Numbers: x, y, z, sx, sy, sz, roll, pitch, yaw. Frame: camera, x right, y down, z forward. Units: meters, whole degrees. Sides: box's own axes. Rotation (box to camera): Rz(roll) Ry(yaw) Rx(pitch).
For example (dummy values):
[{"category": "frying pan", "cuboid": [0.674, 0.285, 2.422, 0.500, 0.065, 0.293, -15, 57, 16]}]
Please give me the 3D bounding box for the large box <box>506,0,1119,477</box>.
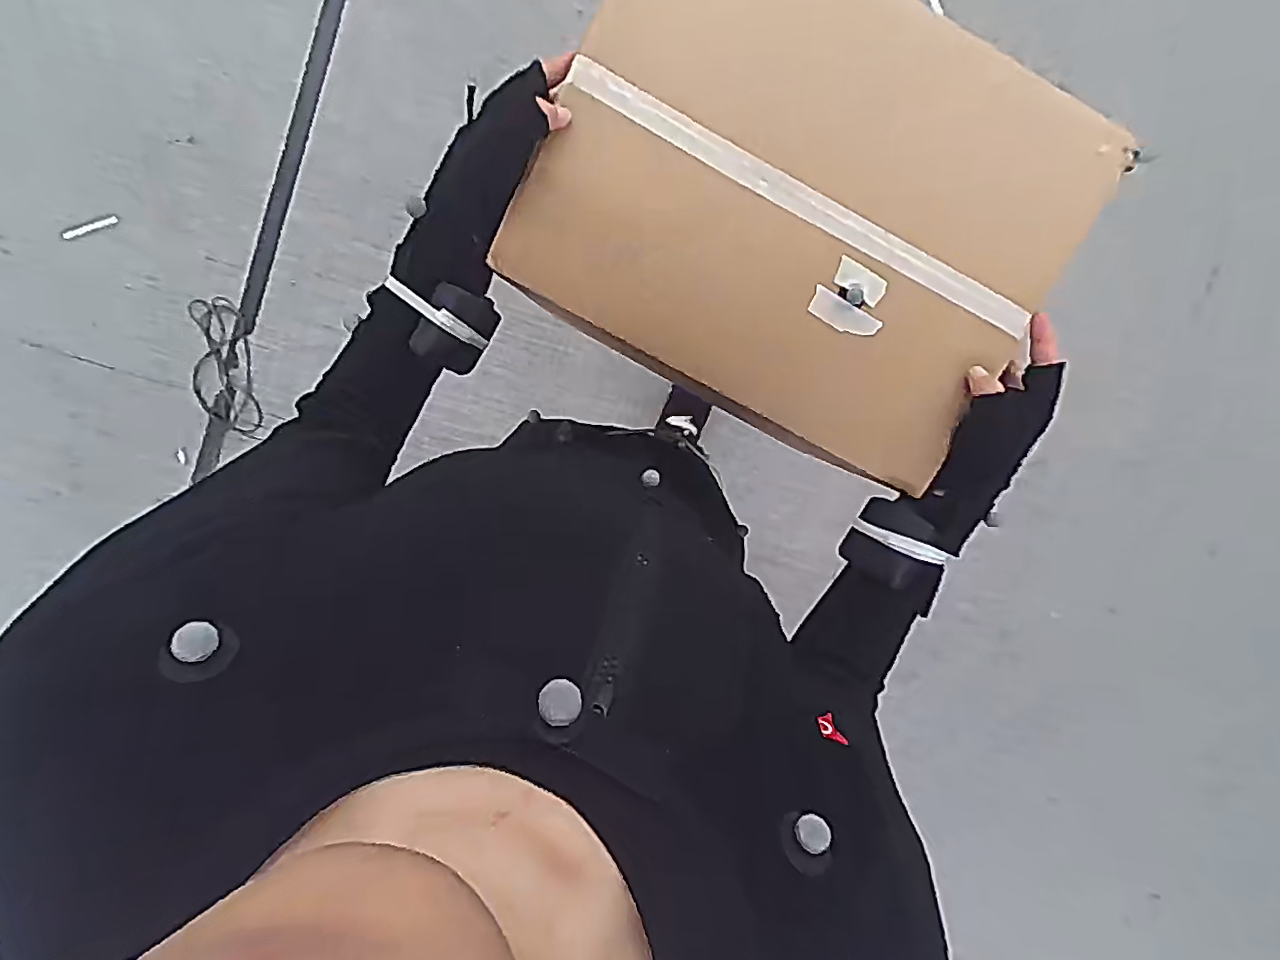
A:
[{"category": "large box", "cuboid": [0.131, -0.247, 0.576, 0.408, 0.320, 0.320, 28, 100, -5]}]
